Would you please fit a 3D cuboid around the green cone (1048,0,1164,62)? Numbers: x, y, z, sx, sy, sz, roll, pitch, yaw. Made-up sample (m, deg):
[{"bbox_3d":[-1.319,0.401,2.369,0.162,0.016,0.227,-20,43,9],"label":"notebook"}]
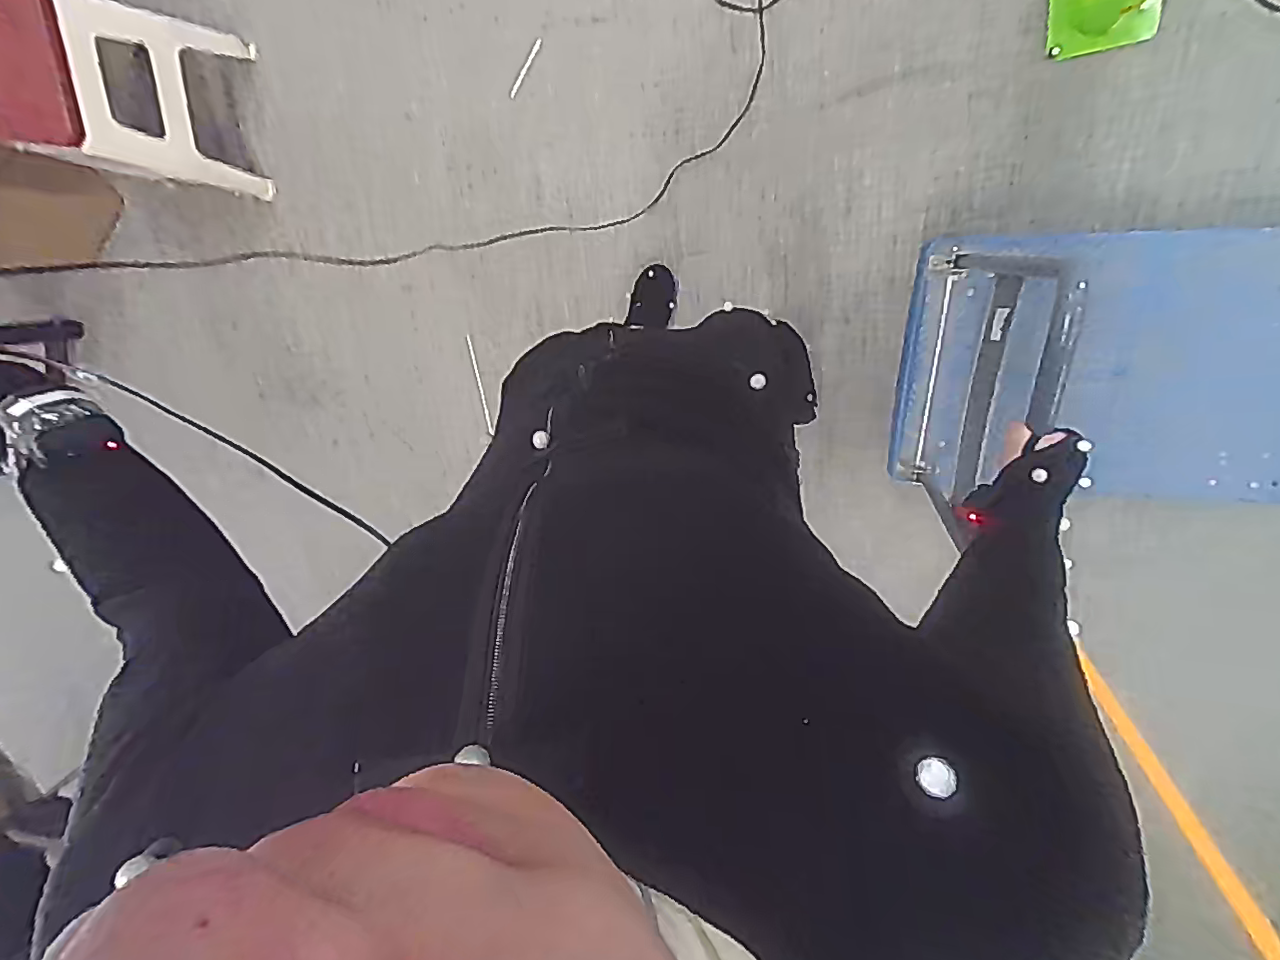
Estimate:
[{"bbox_3d":[0.903,-0.918,0.926,0.200,0.368,0.202,-6,109,14],"label":"green cone"}]
